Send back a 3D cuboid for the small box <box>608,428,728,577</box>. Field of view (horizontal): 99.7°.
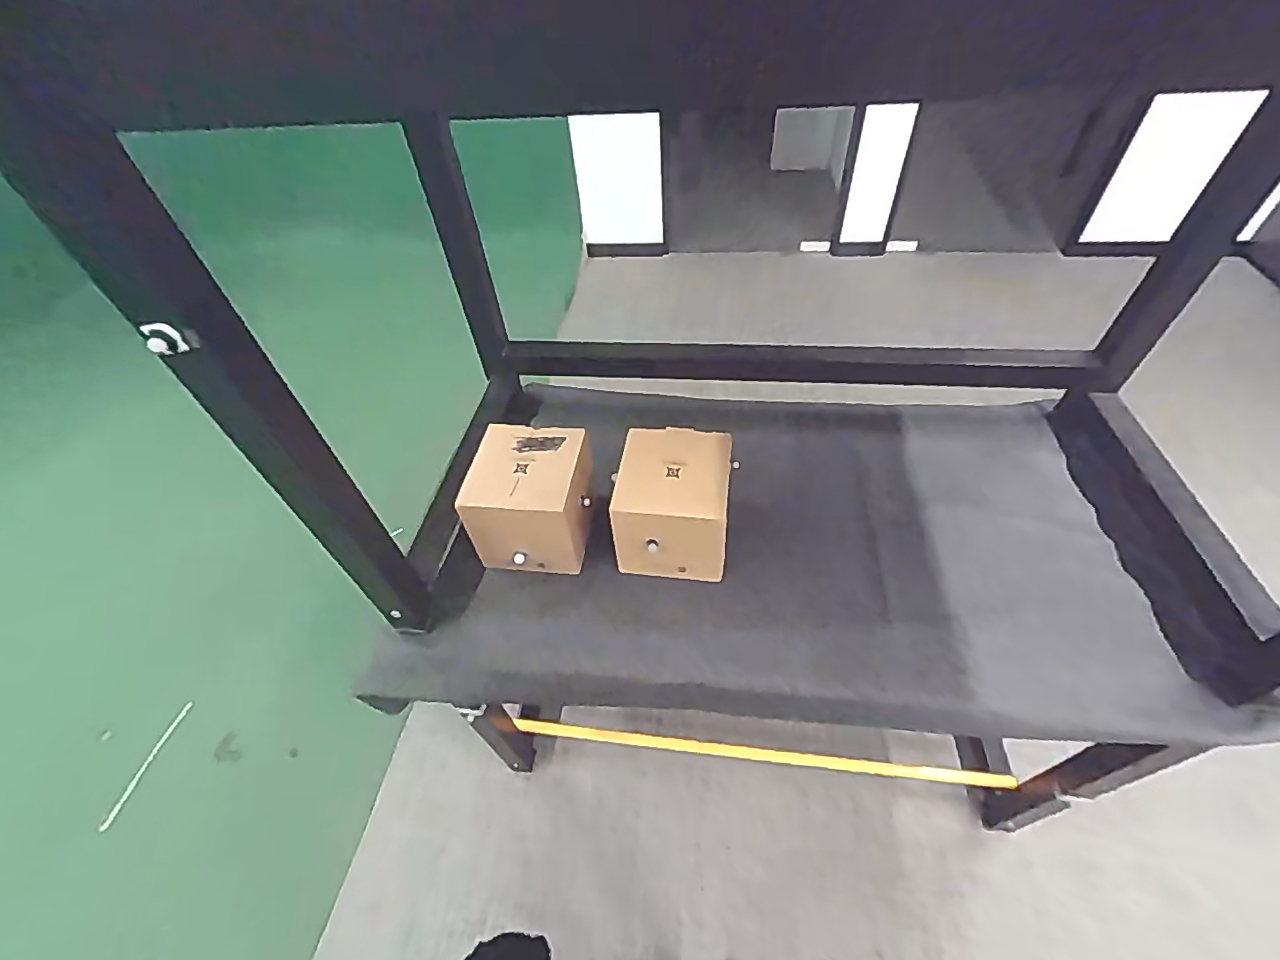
[{"bbox_3d":[0.052,0.038,0.873,0.168,0.176,0.179,4,48,8],"label":"small box"}]

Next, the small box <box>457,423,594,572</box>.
[{"bbox_3d":[-0.174,0.028,0.895,0.168,0.176,0.179,3,49,7],"label":"small box"}]
